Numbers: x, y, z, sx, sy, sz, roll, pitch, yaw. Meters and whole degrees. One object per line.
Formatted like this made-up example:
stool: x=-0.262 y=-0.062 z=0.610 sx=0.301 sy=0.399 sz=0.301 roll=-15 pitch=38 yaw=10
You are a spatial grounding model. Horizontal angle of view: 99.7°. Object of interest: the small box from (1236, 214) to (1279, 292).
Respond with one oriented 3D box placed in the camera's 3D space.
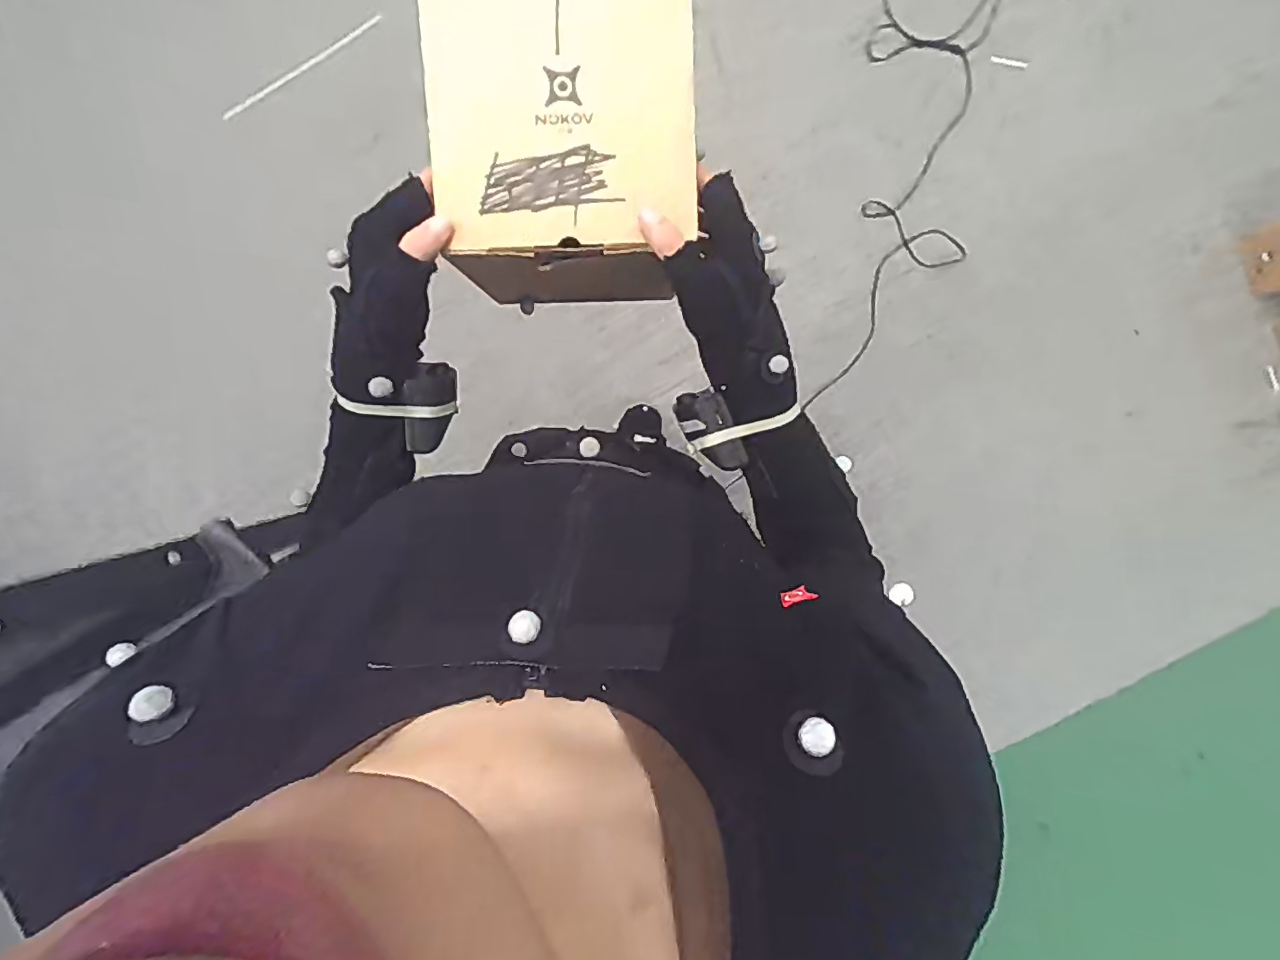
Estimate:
small box: x=1.663 y=-0.592 z=1.333 sx=0.179 sy=0.176 sz=0.168 roll=-28 pitch=95 yaw=3
